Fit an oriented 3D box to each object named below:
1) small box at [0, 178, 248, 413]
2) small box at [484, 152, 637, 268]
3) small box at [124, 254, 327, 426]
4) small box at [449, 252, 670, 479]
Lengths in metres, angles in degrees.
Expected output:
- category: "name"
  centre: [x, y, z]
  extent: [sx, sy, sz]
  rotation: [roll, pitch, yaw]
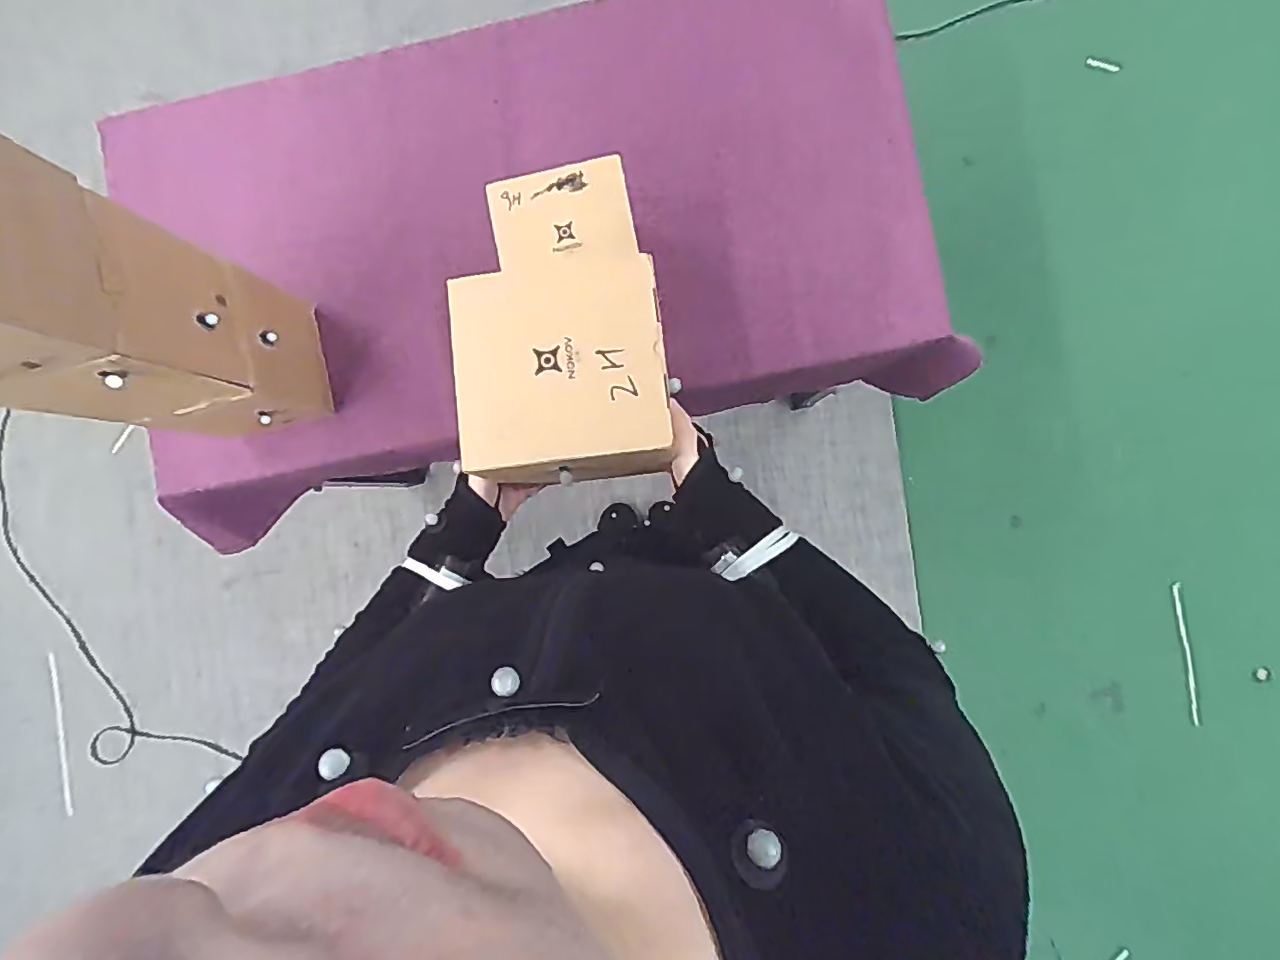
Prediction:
- category: "small box"
  centre: [-0.575, -0.177, 0.576]
  extent: [0.179, 0.176, 0.168]
  rotation: [-14, 89, 1]
- category: "small box"
  centre: [-0.086, -0.285, 0.715]
  extent: [0.168, 0.176, 0.179]
  rotation: [-11, 89, 3]
- category: "small box"
  centre: [-0.562, -0.175, 0.738]
  extent: [0.168, 0.176, 0.179]
  rotation: [-12, 88, 2]
- category: "small box"
  centre: [-0.065, -0.094, 0.525]
  extent: [0.179, 0.176, 0.168]
  rotation: [-6, 86, 1]
